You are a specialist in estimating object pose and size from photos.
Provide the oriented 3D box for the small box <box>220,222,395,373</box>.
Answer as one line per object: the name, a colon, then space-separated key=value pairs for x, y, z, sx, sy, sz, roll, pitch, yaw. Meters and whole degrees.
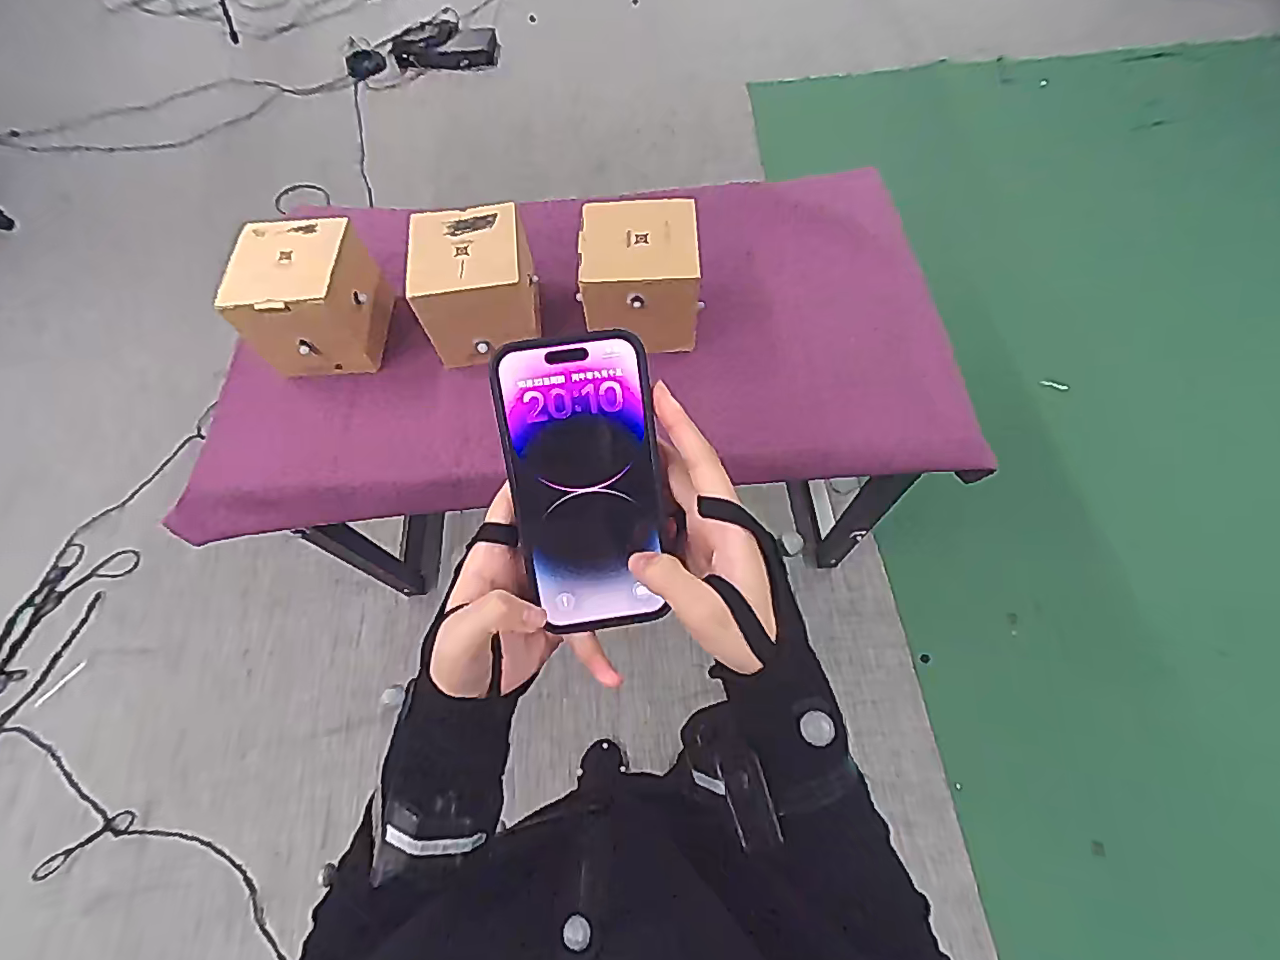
small box: x=-0.527 y=-0.289 z=0.886 sx=0.168 sy=0.176 sz=0.179 roll=-3 pitch=64 yaw=1

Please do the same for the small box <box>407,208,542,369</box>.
small box: x=-0.260 y=-0.307 z=0.882 sx=0.168 sy=0.176 sz=0.179 roll=-8 pitch=64 yaw=-1

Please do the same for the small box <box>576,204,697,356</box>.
small box: x=0.000 y=-0.316 z=0.875 sx=0.179 sy=0.176 sz=0.168 roll=-1 pitch=64 yaw=2
